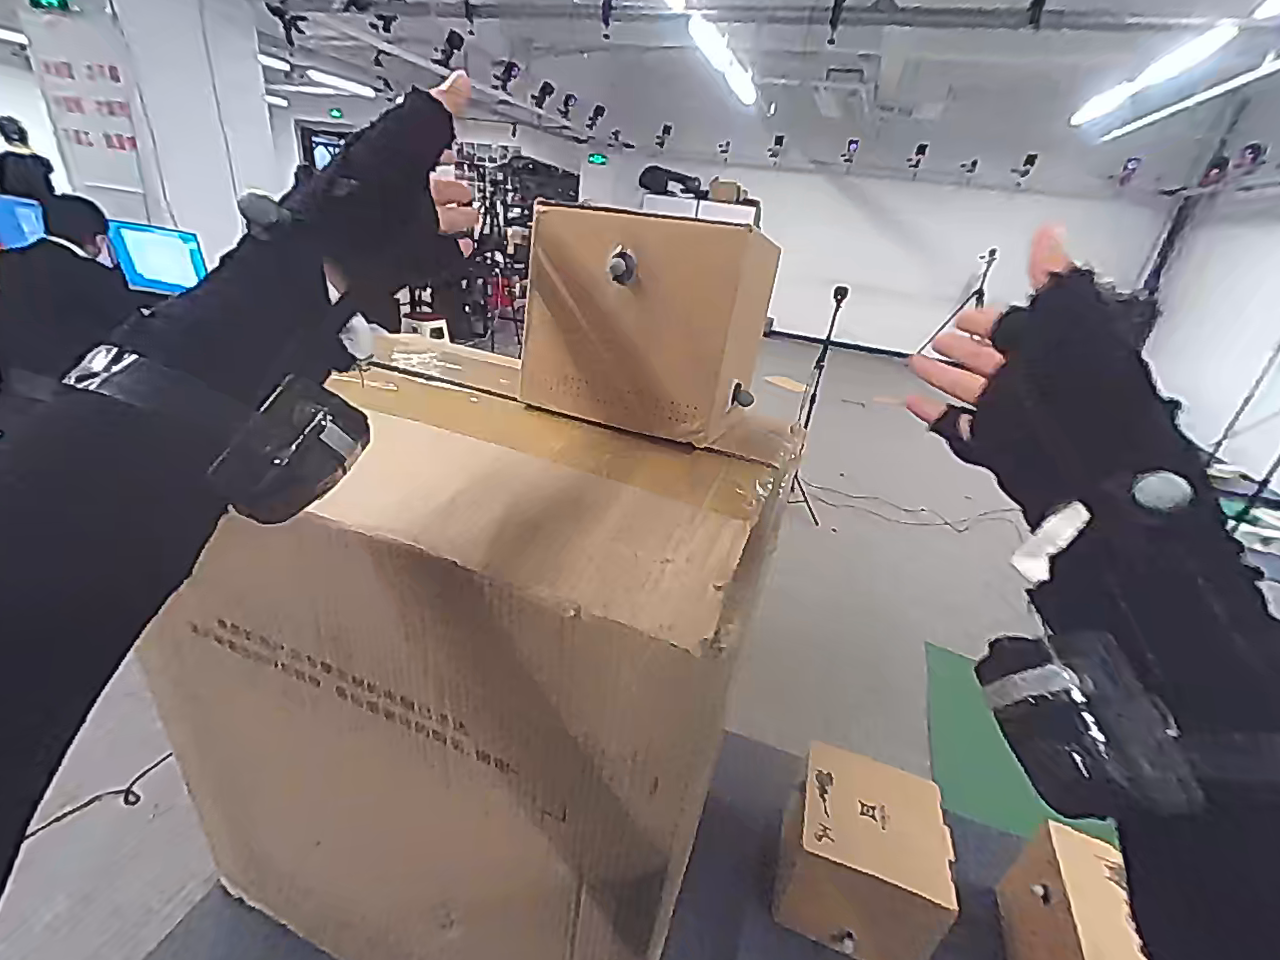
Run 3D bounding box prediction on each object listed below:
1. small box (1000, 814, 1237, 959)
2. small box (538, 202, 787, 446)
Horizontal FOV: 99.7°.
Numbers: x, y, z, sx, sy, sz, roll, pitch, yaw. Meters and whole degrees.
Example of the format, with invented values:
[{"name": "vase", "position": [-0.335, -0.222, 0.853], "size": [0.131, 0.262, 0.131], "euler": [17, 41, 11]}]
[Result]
[{"name": "small box", "position": [0.570, 0.568, 0.659], "size": [0.168, 0.176, 0.179], "euler": [15, 28, 17]}, {"name": "small box", "position": [0.021, -0.141, 0.502], "size": [0.179, 0.176, 0.168], "euler": [17, 22, 16]}]
